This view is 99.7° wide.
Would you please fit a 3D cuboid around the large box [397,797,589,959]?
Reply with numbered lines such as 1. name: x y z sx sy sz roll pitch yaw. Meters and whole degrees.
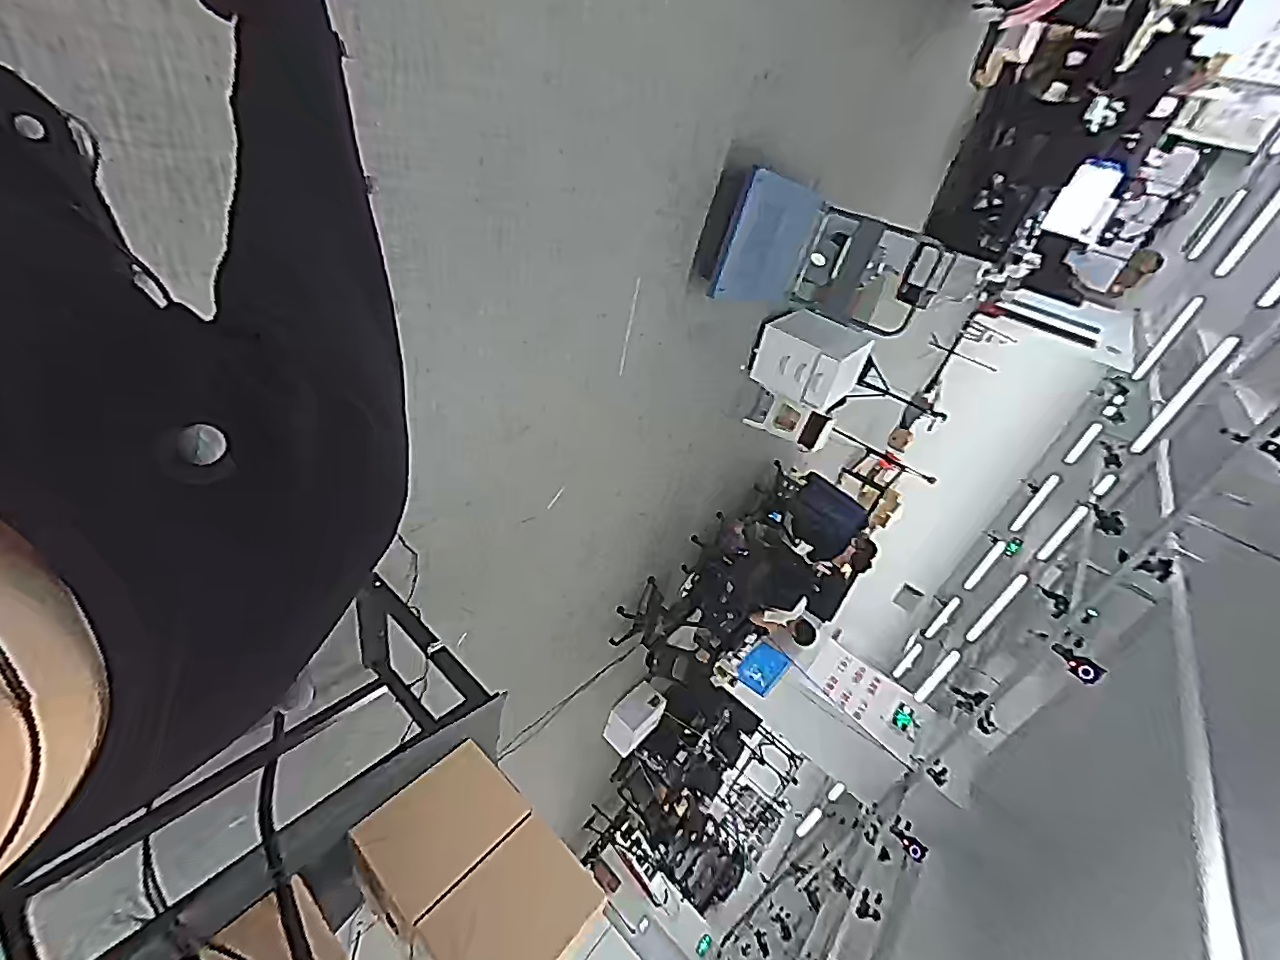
1. large box: -0.413 1.209 1.518 0.408 0.320 0.320 -25 141 -46
